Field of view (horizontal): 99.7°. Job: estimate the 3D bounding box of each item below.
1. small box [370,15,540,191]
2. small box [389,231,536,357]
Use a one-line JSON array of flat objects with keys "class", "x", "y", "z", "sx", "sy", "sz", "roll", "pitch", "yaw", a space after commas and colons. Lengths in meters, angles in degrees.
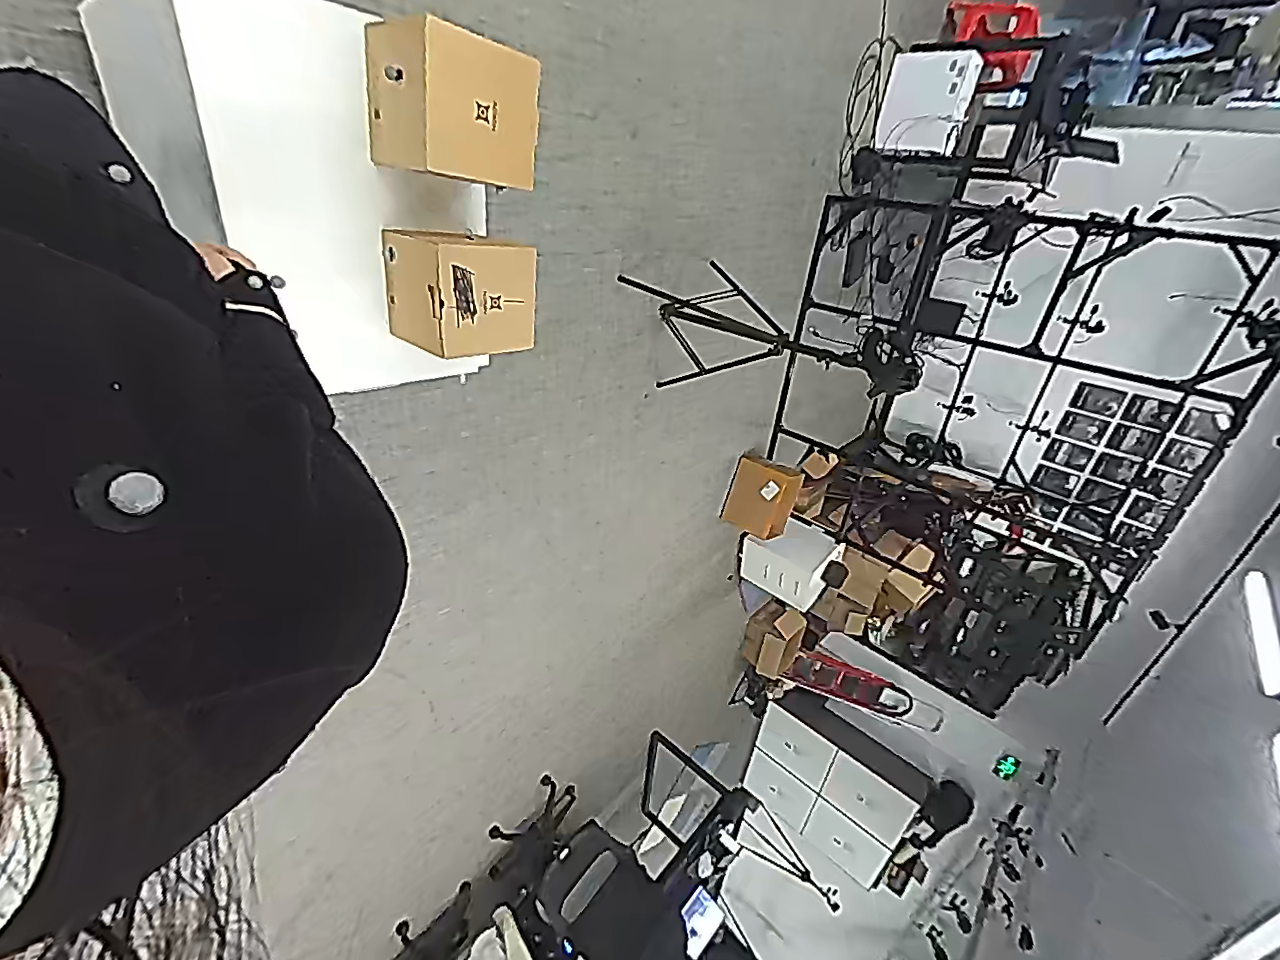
[{"class": "small box", "x": -0.269, "y": -0.525, "z": 0.775, "sx": 0.179, "sy": 0.176, "sz": 0.168, "roll": -19, "pitch": 128, "yaw": -46}, {"class": "small box", "x": -0.295, "y": -0.309, "z": 0.890, "sx": 0.179, "sy": 0.176, "sz": 0.168, "roll": -22, "pitch": 129, "yaw": -45}]
